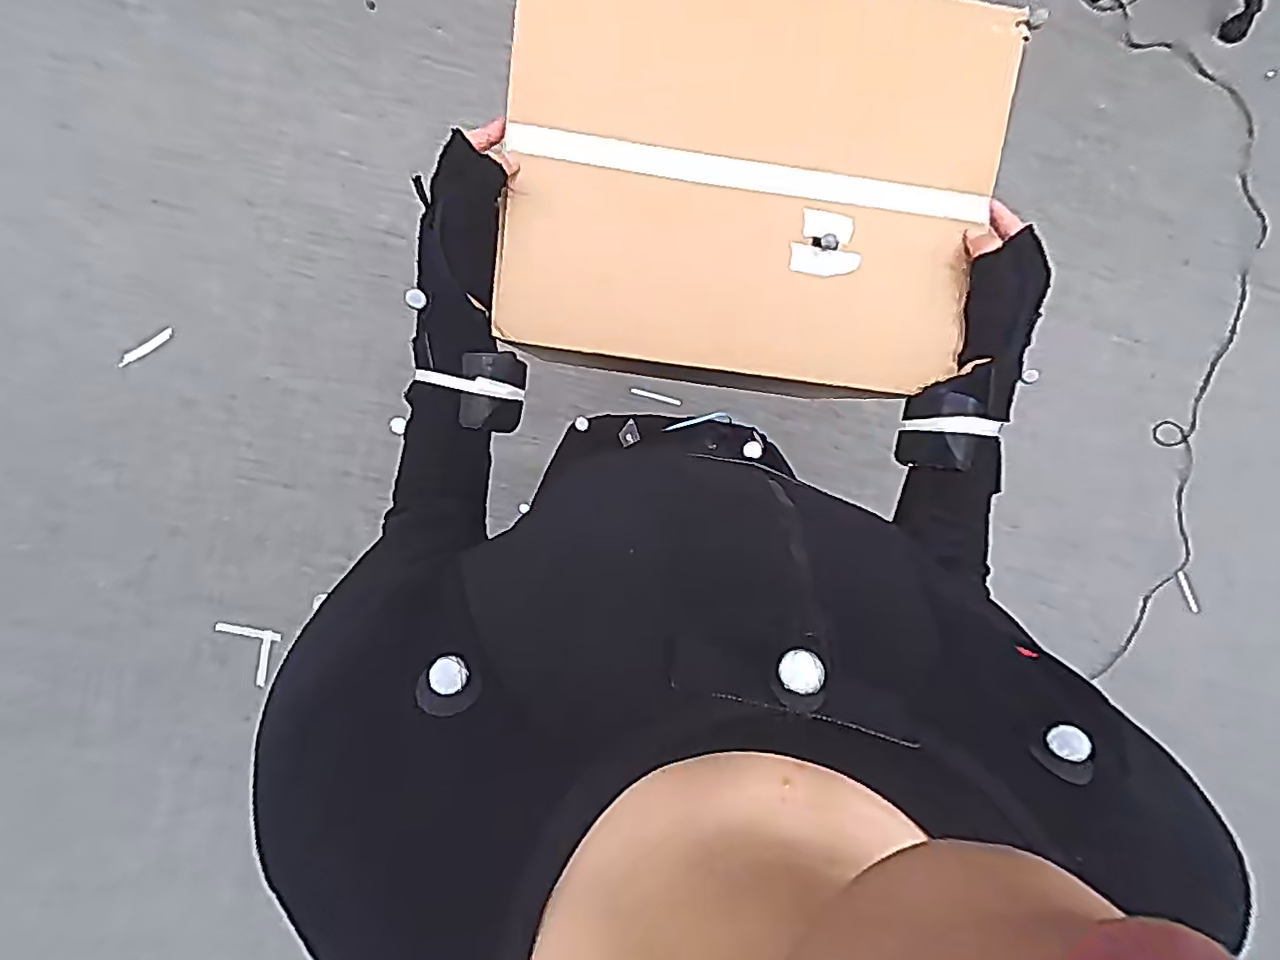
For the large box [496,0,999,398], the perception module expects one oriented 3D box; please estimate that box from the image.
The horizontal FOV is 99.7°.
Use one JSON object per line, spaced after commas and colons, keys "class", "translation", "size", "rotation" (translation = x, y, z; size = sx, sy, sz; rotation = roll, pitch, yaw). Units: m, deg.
{"class": "large box", "translation": [0.076, -0.269, 0.603], "size": [0.408, 0.320, 0.320], "rotation": [7, 100, -5]}
